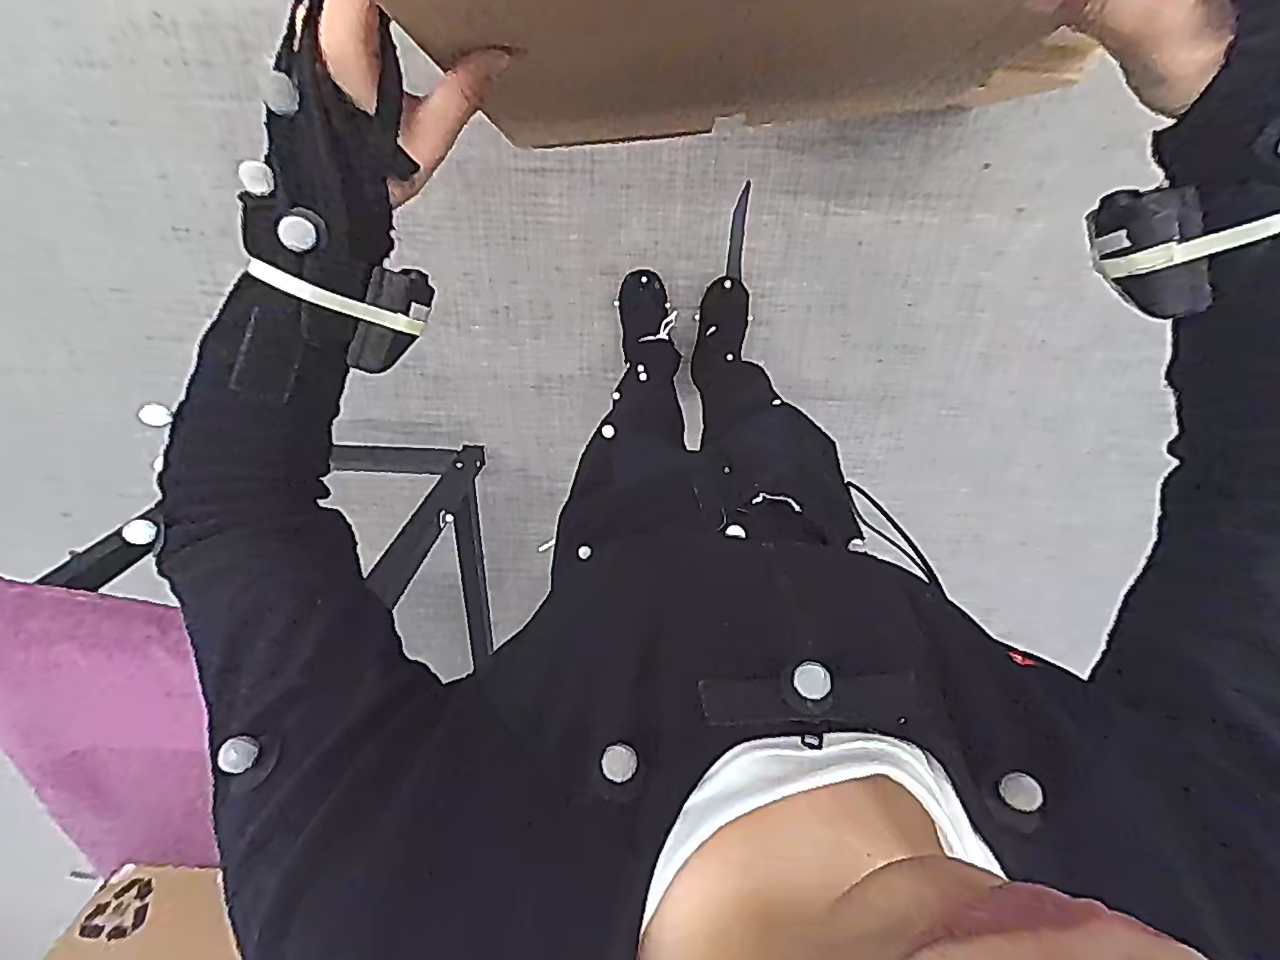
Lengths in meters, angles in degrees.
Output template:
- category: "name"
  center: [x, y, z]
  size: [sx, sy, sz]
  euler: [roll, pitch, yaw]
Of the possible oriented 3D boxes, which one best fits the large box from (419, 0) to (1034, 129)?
- category: "large box"
  center: [0.036, -0.409, 0.188]
  size: [0.320, 0.320, 0.408]
  euler: [-4, 108, 5]
